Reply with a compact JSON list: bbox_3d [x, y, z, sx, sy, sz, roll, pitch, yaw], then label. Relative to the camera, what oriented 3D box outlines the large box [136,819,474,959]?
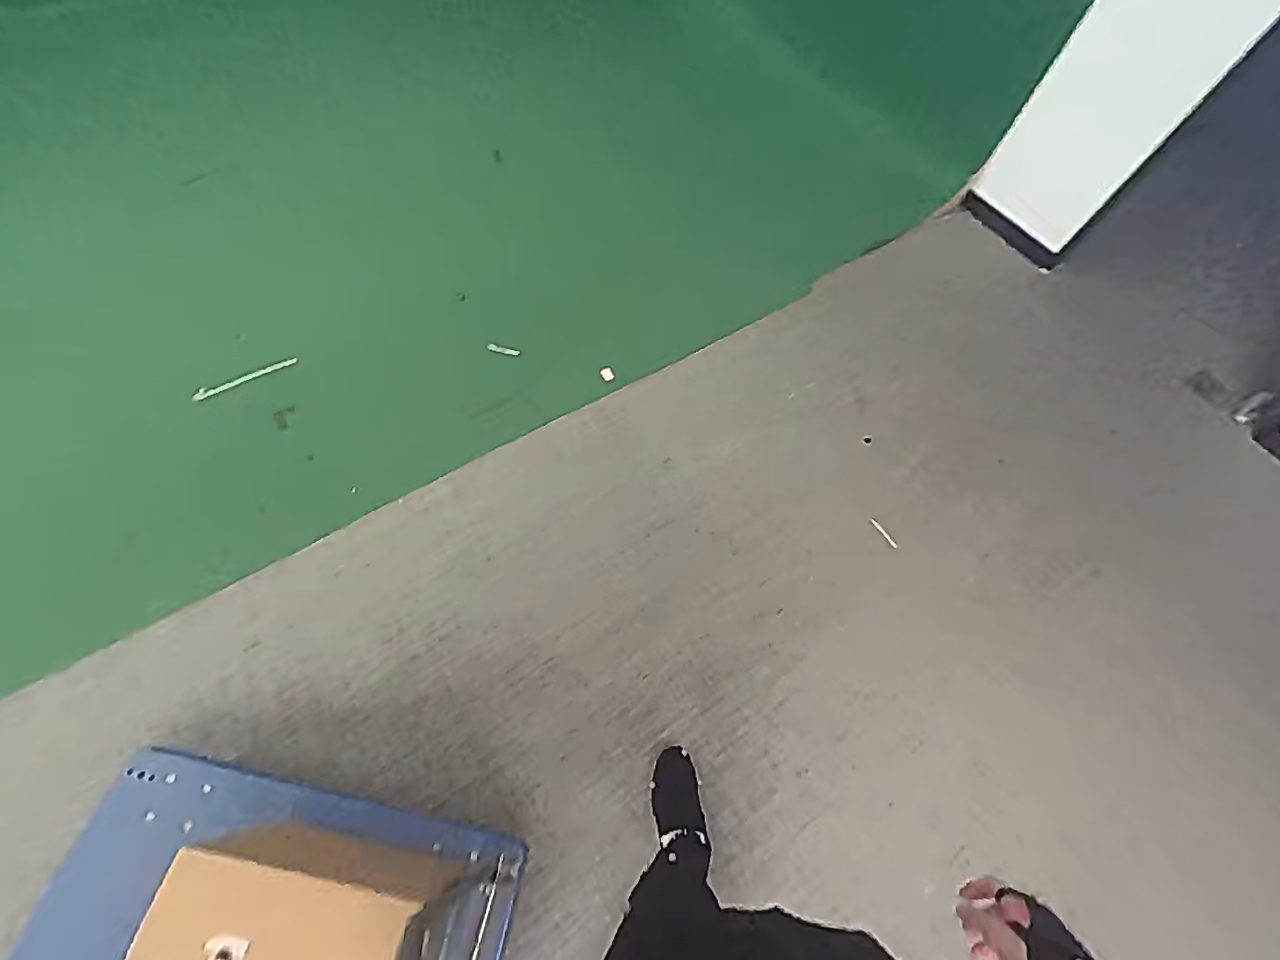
[{"bbox_3d":[-0.544,0.802,0.907,0.408,0.320,0.320,12,63,2],"label":"large box"}]
